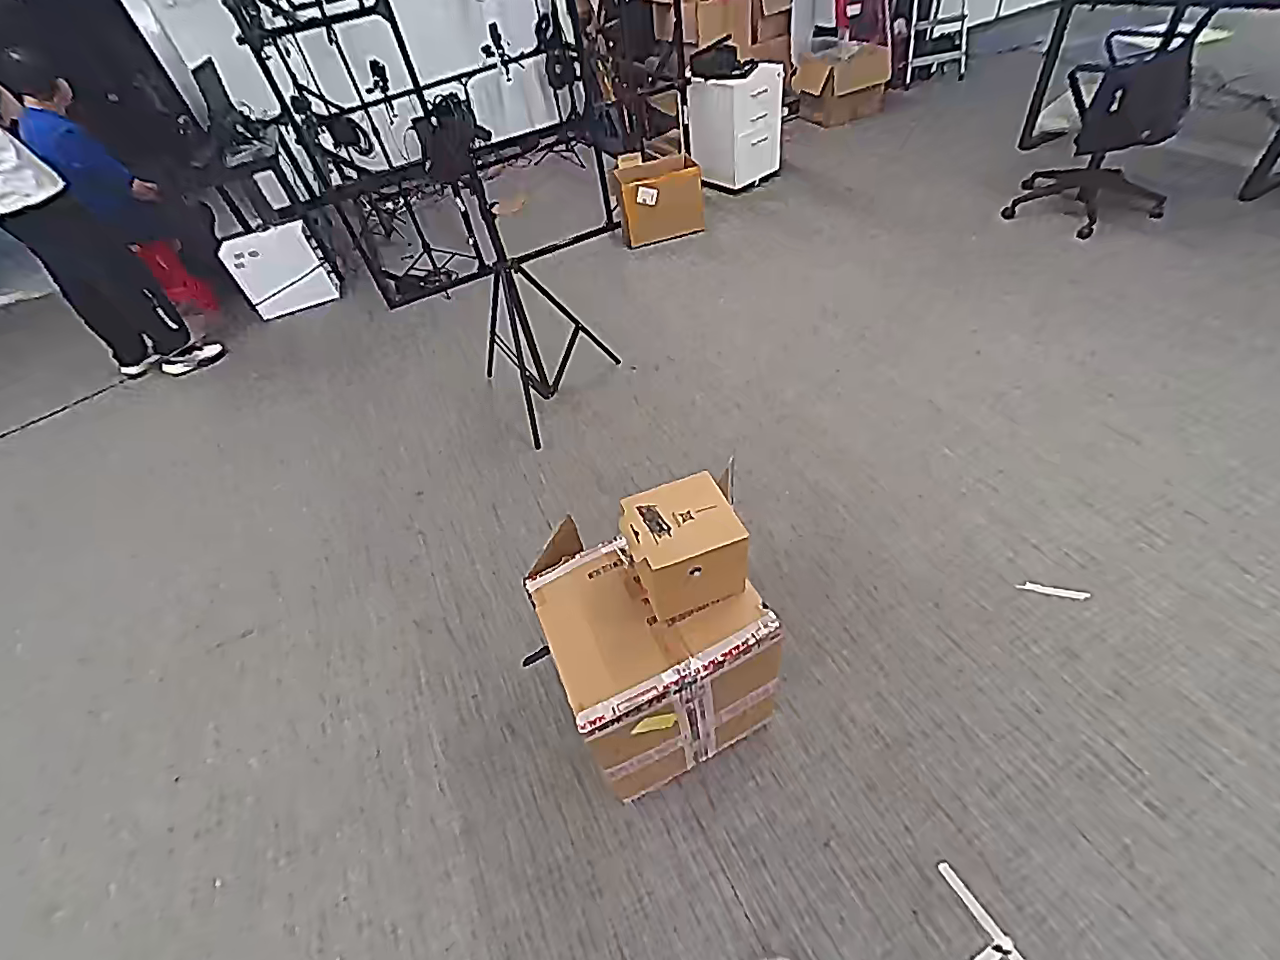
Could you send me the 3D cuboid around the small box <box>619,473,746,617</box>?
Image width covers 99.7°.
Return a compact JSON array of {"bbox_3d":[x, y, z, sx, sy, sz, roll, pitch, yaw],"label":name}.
[{"bbox_3d":[0.077,0.121,0.978,0.179,0.176,0.168,-19,48,-10],"label":"small box"}]
